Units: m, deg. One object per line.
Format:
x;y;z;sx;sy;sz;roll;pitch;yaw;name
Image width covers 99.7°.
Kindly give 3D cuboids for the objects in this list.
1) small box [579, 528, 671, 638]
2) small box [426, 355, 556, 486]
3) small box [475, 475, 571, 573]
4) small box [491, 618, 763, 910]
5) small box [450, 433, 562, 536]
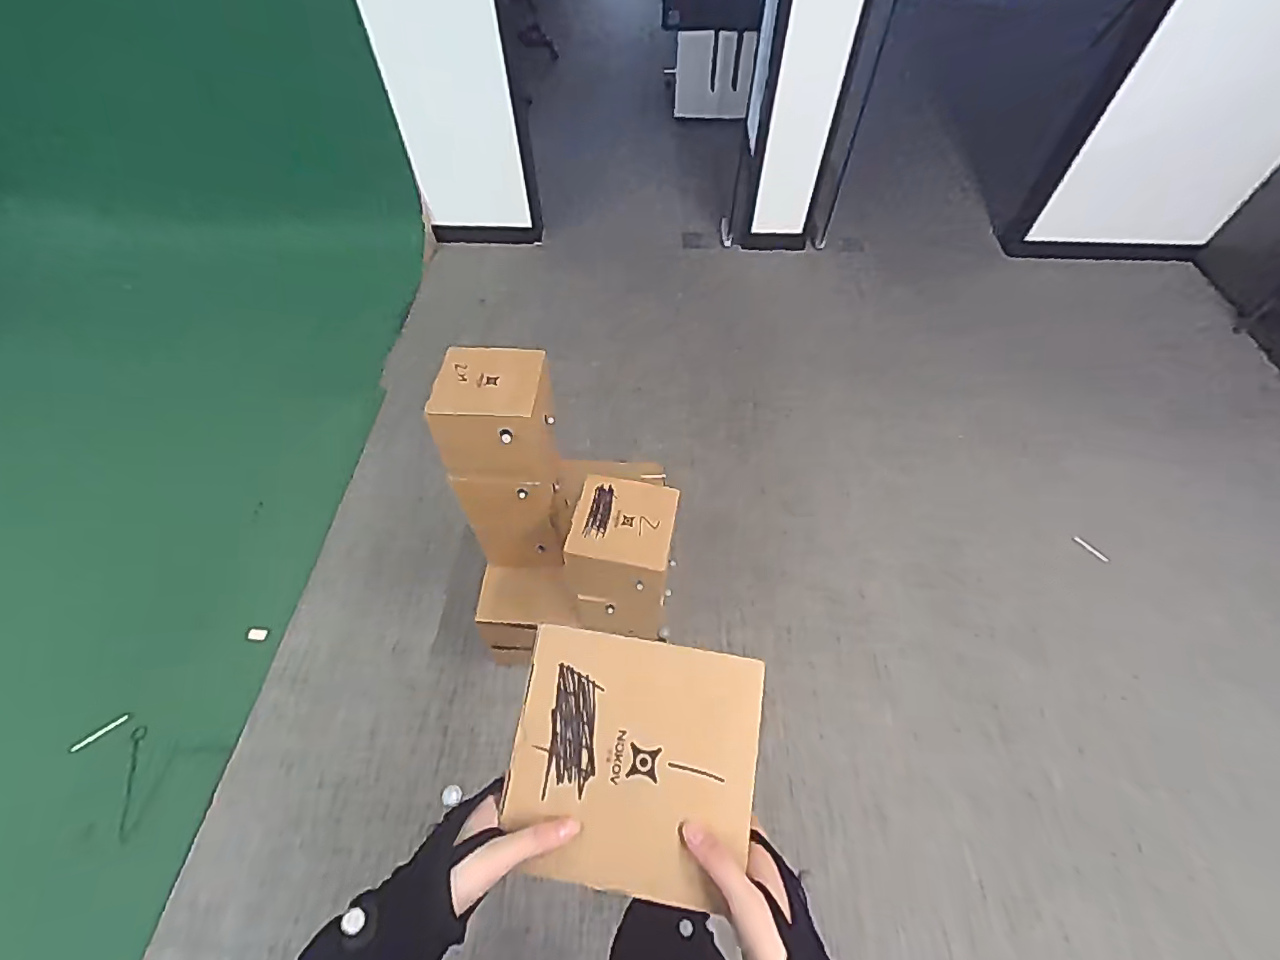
-0.029;0.224;1.134;0.168;0.176;0.179;6;53;3;small box
-0.252;-0.103;0.971;0.179;0.176;0.168;2;52;2;small box
-0.255;0.101;1.227;0.179;0.176;0.168;0;52;1;small box
-0.002;0.223;0.467;0.179;0.176;0.168;9;72;5;small box
-0.261;0.001;1.100;0.179;0.176;0.168;2;52;0;small box
